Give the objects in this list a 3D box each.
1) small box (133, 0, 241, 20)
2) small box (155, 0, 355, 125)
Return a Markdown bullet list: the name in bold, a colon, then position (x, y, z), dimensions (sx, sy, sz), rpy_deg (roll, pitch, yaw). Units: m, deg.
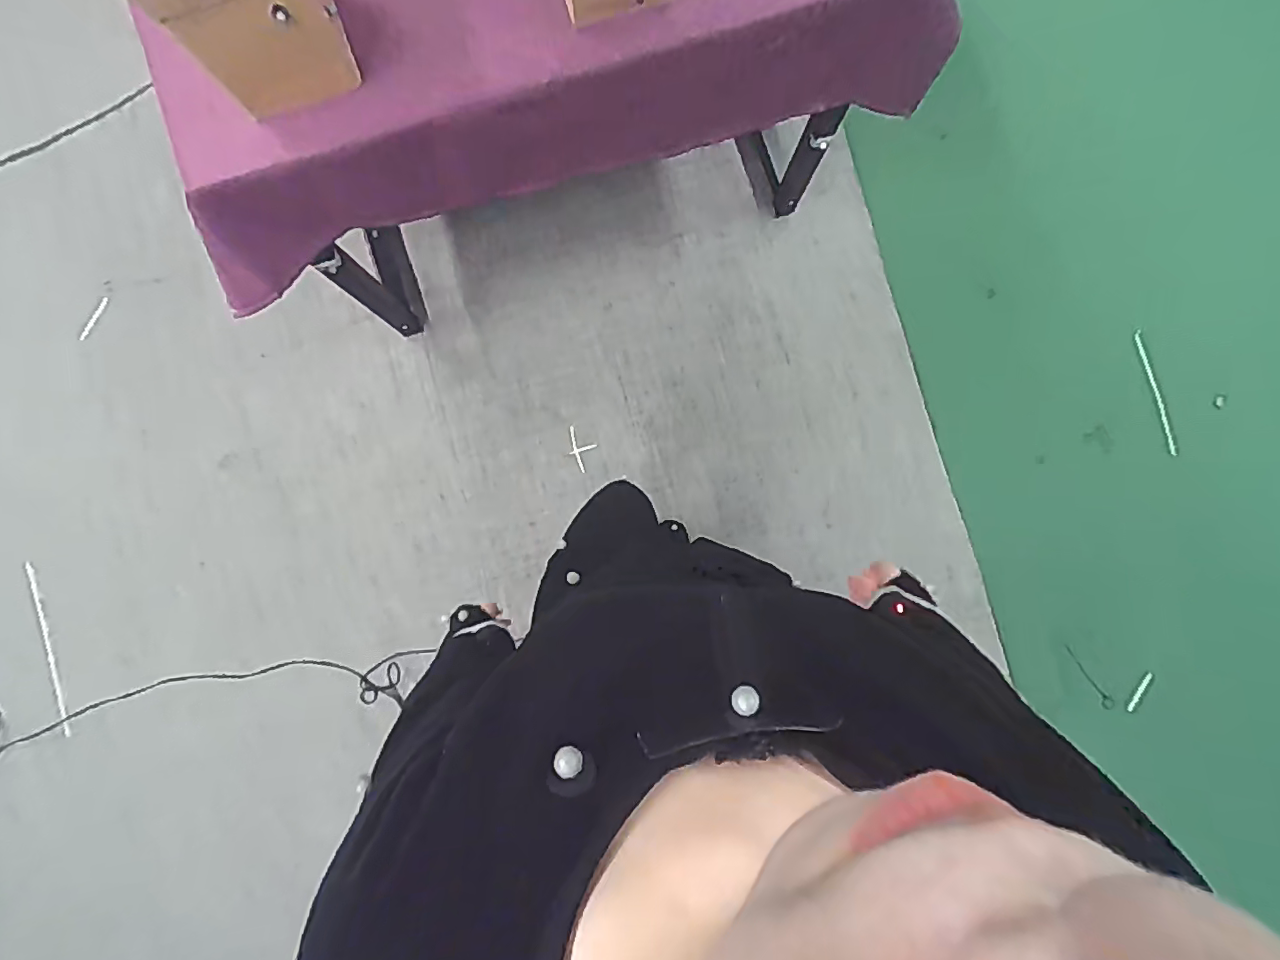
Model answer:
- **small box**: position (-0.556, -0.672, 0.606), dimensions (0.168, 0.176, 0.179), rpy_deg (-23, 85, -3)
- **small box**: position (-0.551, -0.655, 0.770), dimensions (0.179, 0.176, 0.168), rpy_deg (-23, 85, -3)
